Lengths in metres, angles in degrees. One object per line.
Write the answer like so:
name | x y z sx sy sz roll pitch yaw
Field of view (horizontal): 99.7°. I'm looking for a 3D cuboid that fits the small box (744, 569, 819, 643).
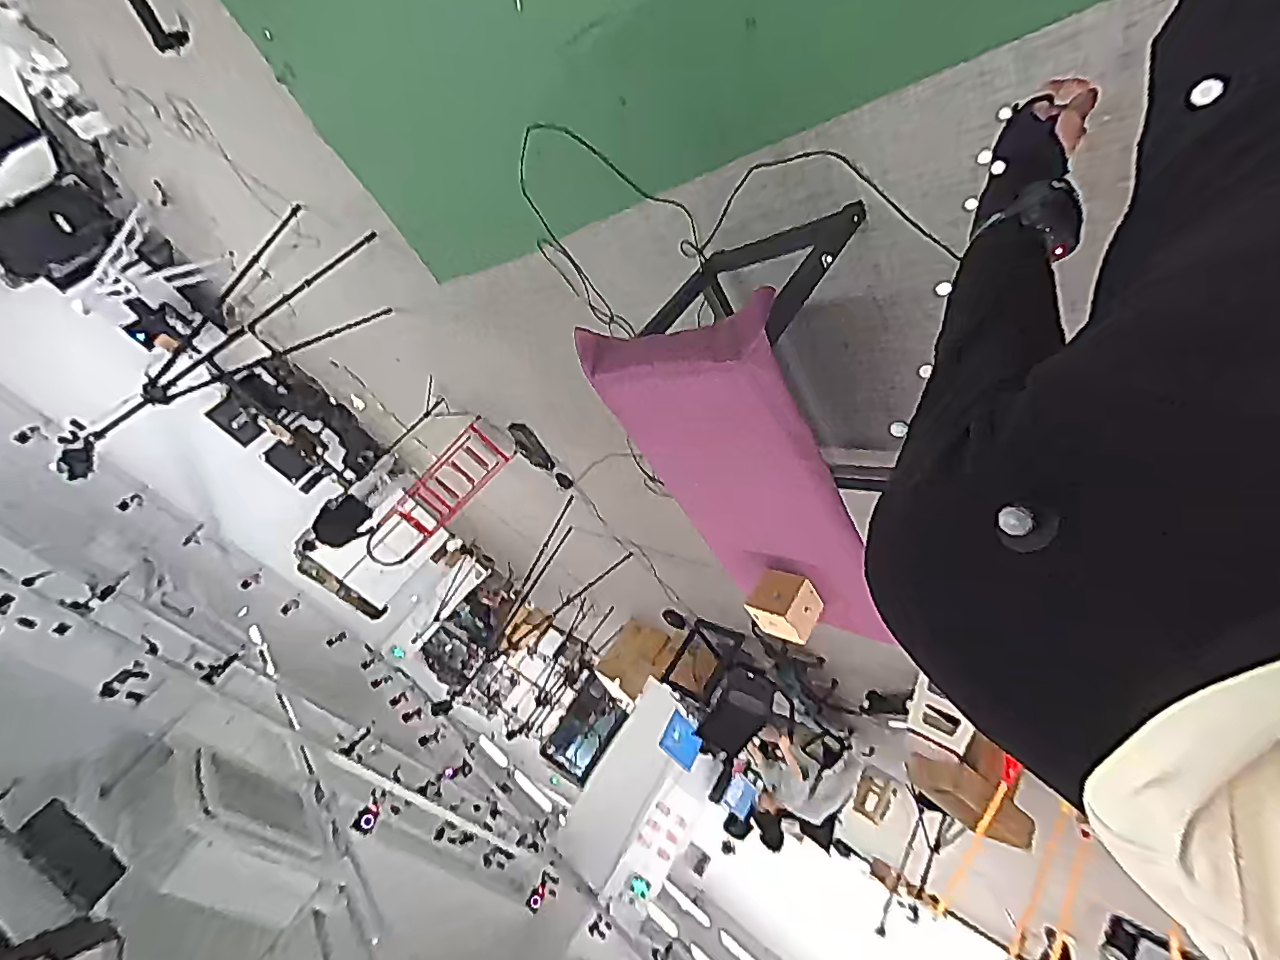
small box | 0.502 0.432 1.881 0.179 0.176 0.168 5 139 49
